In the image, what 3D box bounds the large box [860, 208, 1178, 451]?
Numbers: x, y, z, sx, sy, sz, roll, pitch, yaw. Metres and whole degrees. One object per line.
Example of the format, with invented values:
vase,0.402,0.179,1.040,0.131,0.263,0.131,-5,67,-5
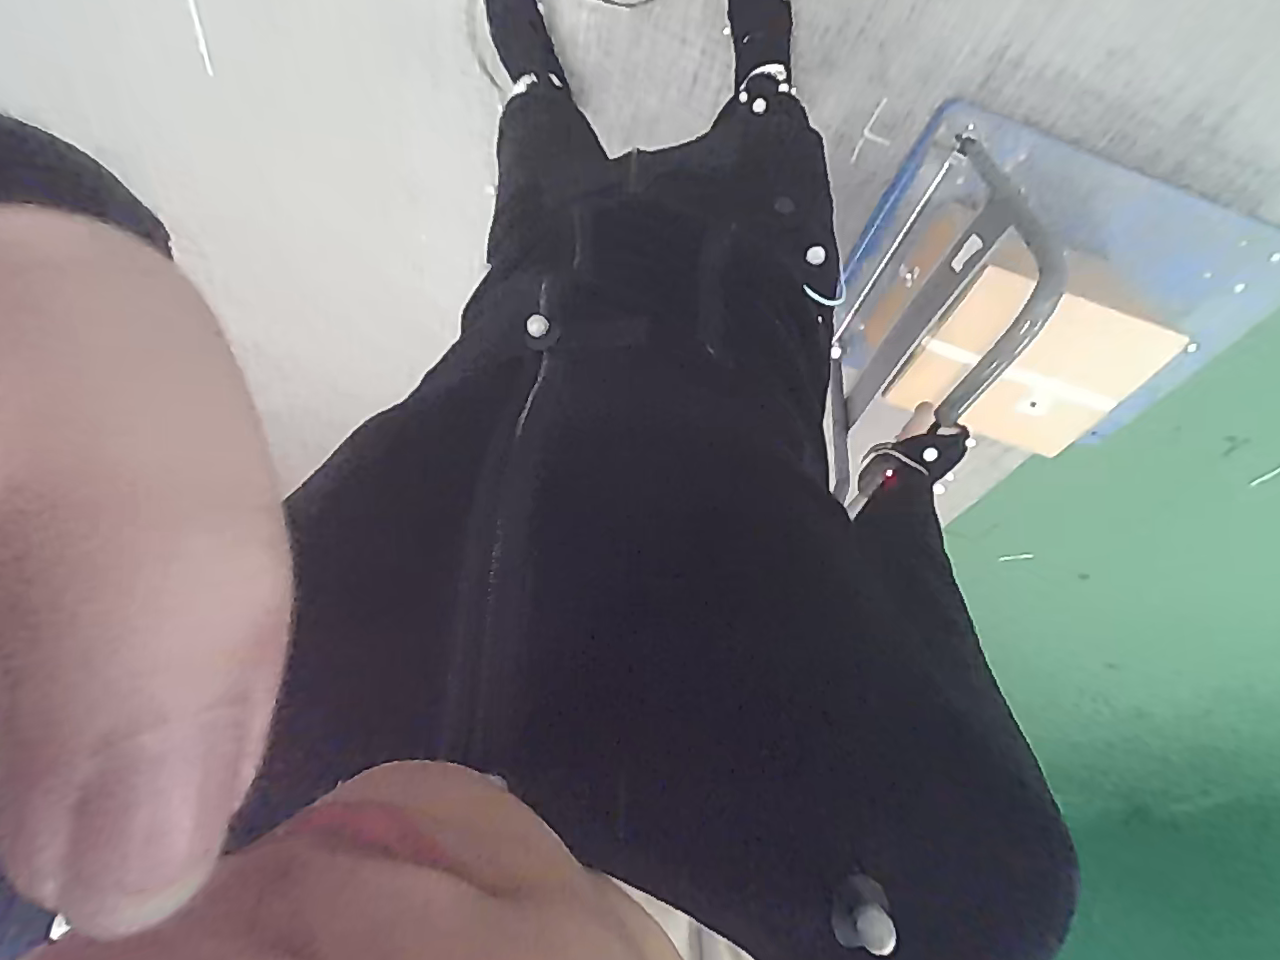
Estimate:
large box,0.746,-0.318,1.149,0.408,0.320,0.320,17,137,-5
